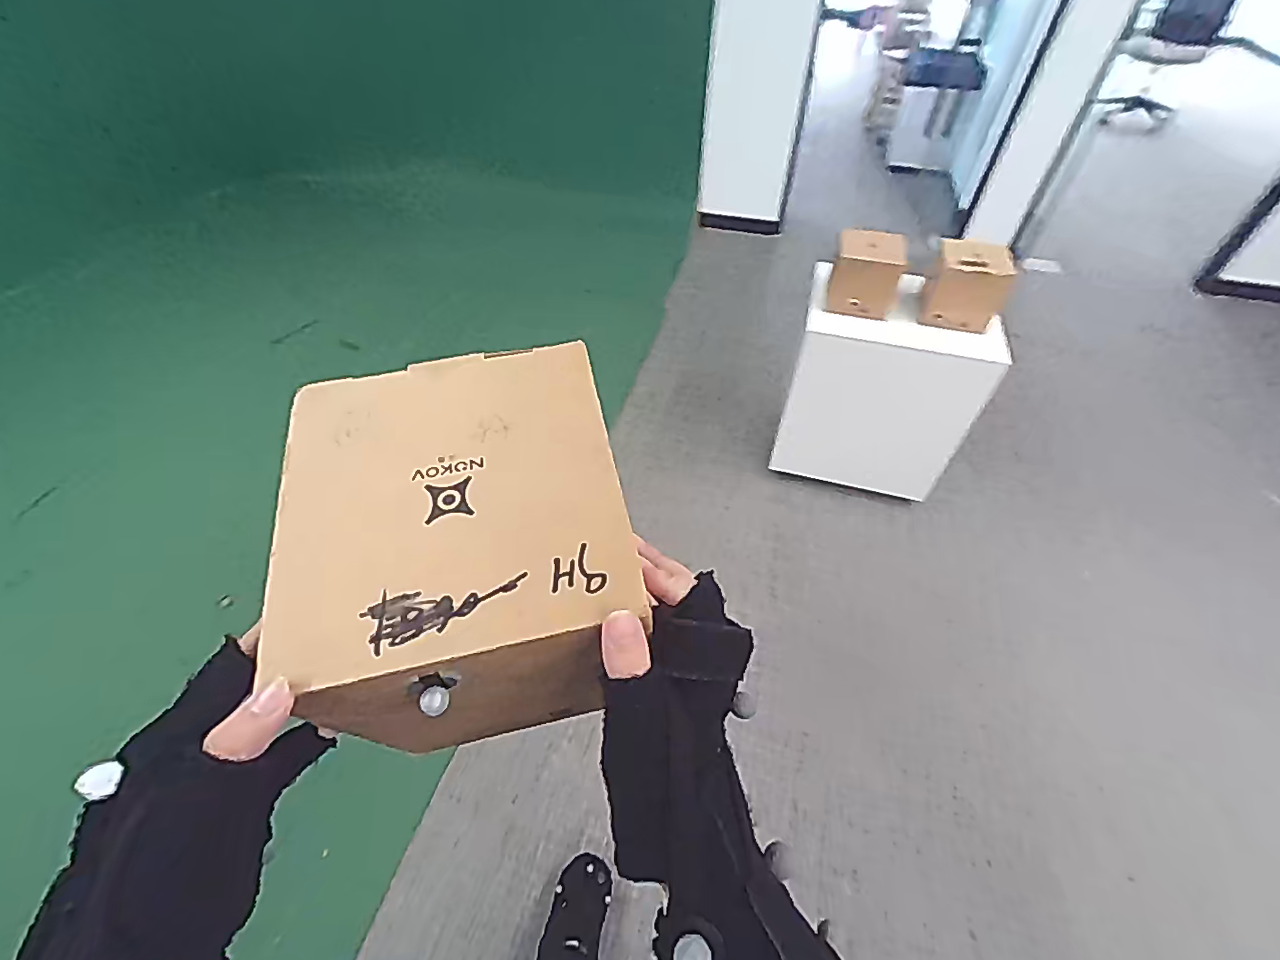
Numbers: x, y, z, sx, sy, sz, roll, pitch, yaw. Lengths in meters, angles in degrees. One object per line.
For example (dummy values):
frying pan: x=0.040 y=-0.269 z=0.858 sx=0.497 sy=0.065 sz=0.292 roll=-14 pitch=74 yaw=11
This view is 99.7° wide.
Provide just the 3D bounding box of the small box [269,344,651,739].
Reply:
small box: x=-0.090 y=0.045 z=0.346 sx=0.168 sy=0.176 sz=0.179 roll=-12 pitch=57 yaw=-5

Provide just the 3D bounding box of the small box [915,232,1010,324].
small box: x=0.854 y=-0.539 z=1.449 sx=0.168 sy=0.176 sz=0.179 roll=11 pitch=50 yaw=11

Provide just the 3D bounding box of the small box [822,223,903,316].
small box: x=0.605 y=-0.579 z=1.489 sx=0.168 sy=0.176 sz=0.179 roll=10 pitch=51 yaw=10
